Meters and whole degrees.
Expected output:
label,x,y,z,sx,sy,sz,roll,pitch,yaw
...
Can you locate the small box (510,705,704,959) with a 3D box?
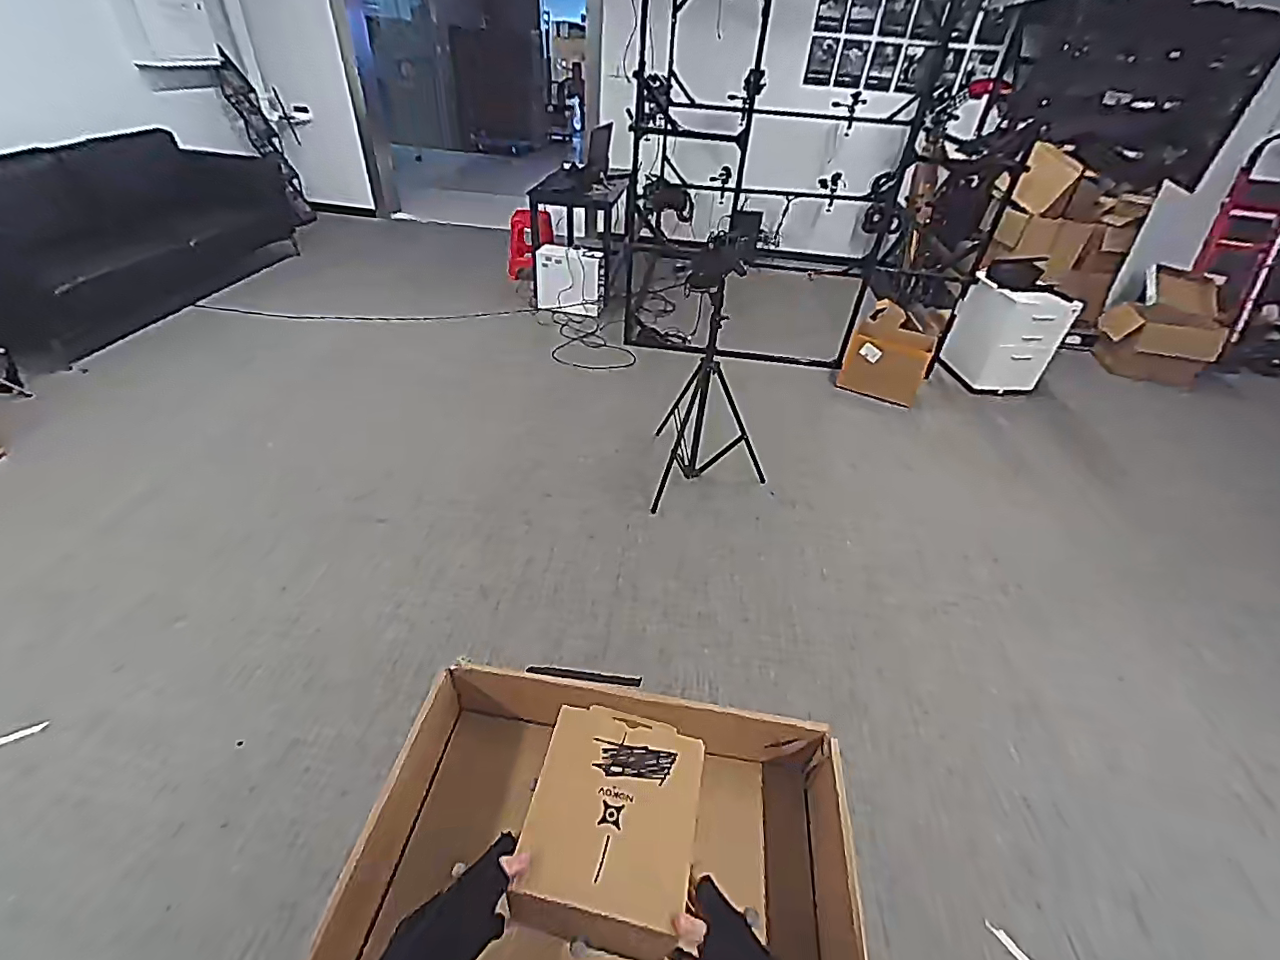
label,x,y,z,sx,sy,sz,roll,pitch,yaw
small box,-0.033,0.389,0.598,0.168,0.176,0.179,12,40,5
